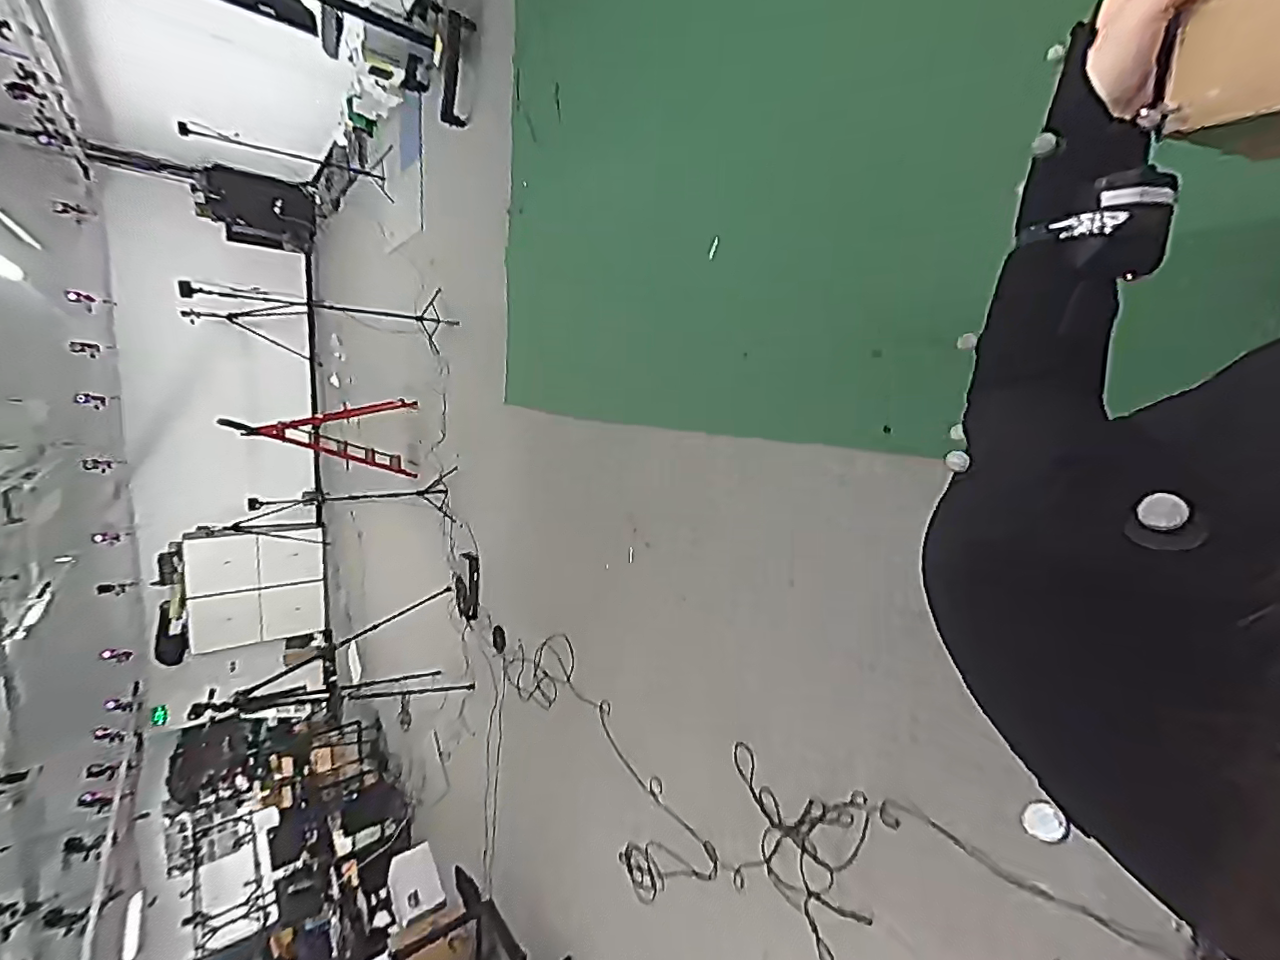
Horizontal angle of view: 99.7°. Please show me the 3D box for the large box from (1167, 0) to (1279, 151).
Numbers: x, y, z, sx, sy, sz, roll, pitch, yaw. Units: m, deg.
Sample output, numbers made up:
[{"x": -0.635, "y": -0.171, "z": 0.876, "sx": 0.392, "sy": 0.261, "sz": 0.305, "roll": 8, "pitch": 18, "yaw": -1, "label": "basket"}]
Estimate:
[{"x": 0.594, "y": -0.394, "z": 0.259, "sx": 0.408, "sy": 0.320, "sz": 0.320, "roll": 19, "pitch": 119, "yaw": 55, "label": "large box"}]
